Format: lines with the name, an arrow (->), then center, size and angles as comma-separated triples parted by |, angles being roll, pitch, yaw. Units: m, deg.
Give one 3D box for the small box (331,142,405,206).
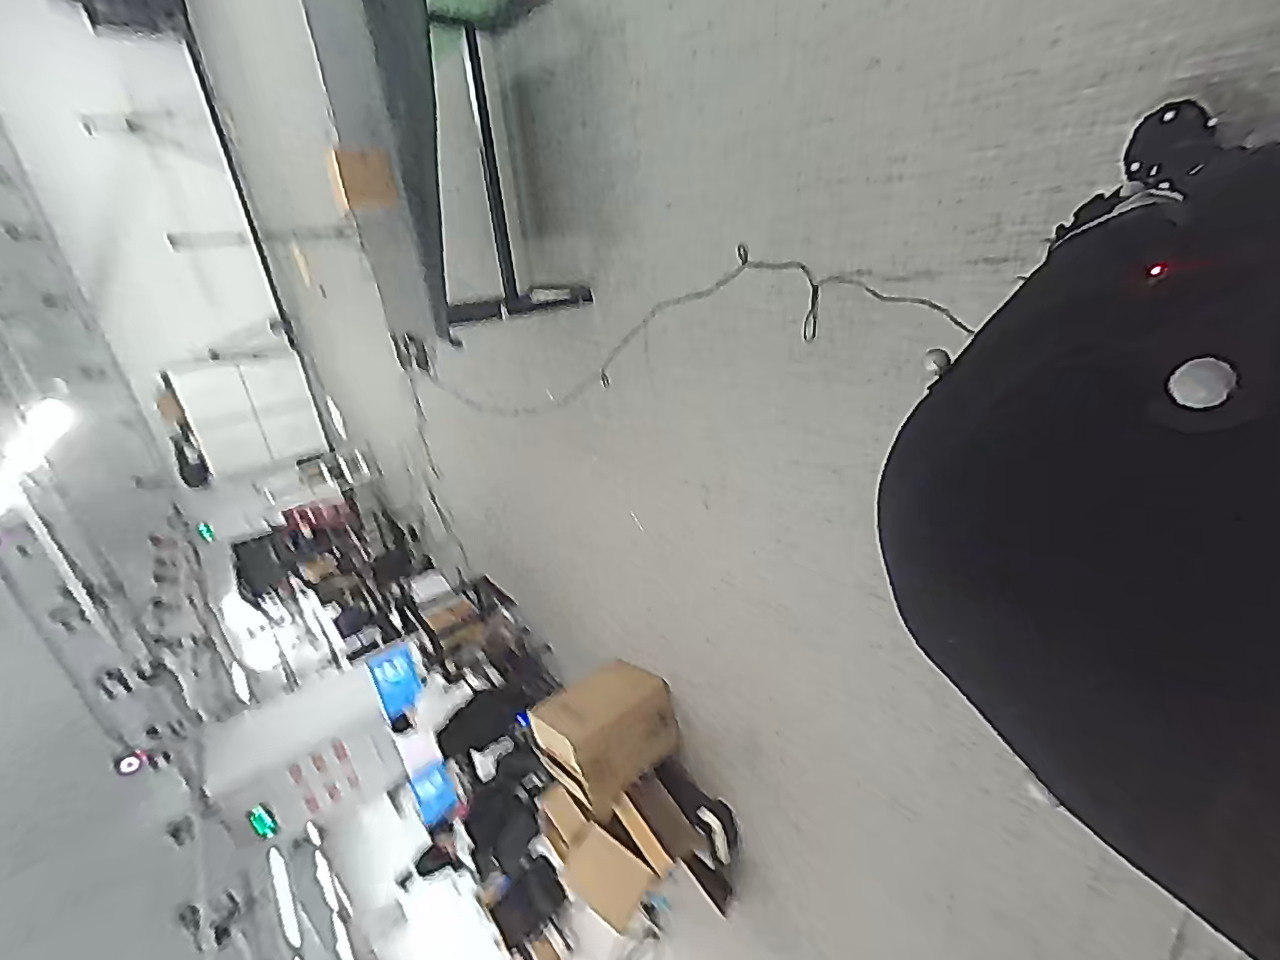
small box -> -0.942, -1.060, 1.879 | 0.168, 0.176, 0.179 | 24, 129, 48
